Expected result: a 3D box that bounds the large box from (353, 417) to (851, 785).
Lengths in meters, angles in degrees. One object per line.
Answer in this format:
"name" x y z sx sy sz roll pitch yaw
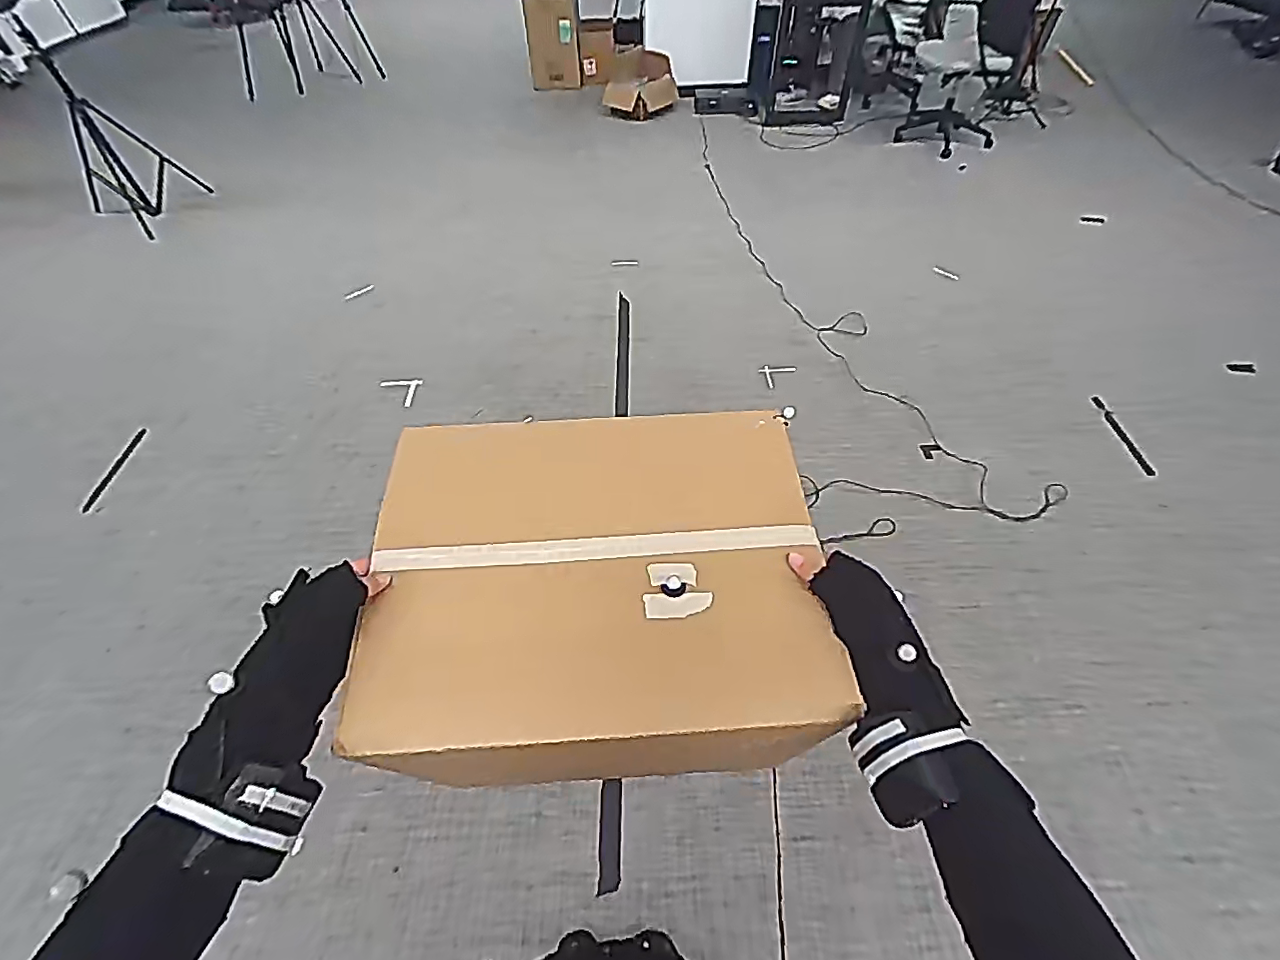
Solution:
"large box" -0.038 0.151 0.630 0.408 0.320 0.320 -3 56 -2
